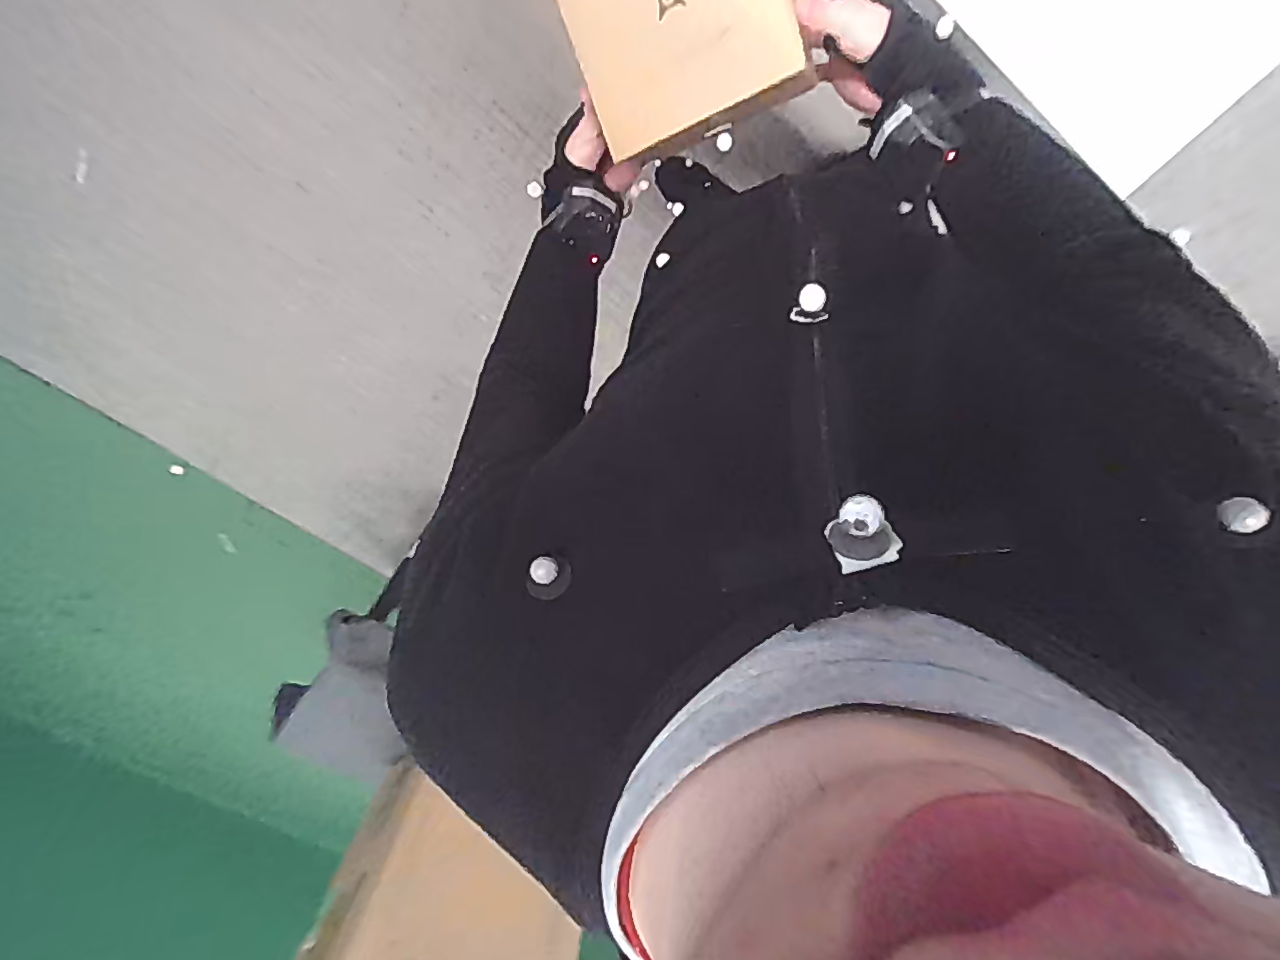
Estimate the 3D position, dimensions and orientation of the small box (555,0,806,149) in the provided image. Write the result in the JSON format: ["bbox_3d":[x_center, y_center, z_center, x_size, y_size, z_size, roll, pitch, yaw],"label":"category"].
[{"bbox_3d":[0.038,-0.406,0.460,0.168,0.176,0.179,-10,117,26],"label":"small box"}]
